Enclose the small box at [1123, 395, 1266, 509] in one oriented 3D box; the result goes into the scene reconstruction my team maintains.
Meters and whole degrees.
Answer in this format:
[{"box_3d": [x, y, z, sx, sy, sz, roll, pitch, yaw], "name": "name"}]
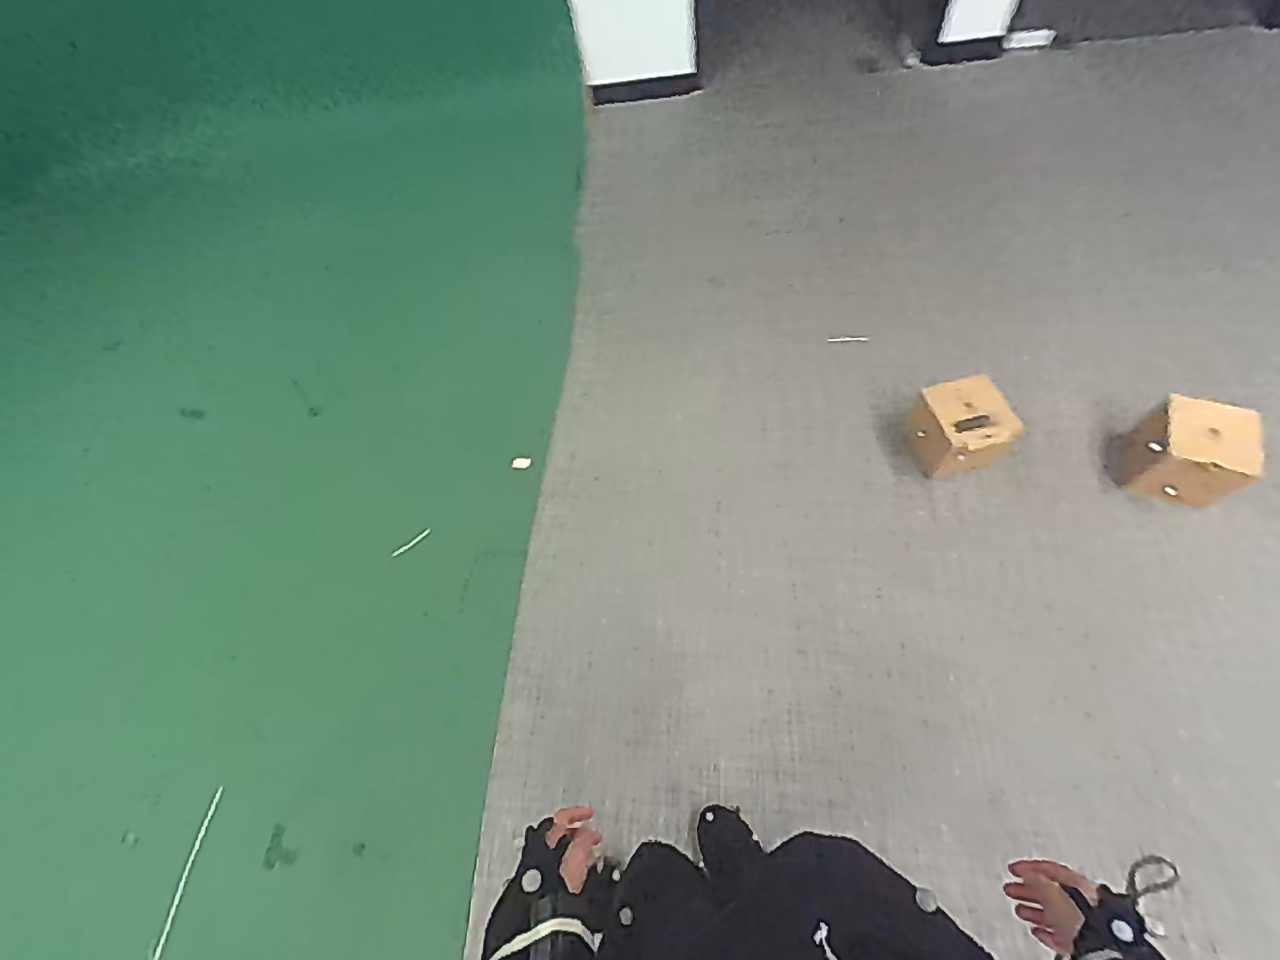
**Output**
[{"box_3d": [1.257, -0.061, 1.239, 0.168, 0.176, 0.179, 17, 66, 17], "name": "small box"}]
